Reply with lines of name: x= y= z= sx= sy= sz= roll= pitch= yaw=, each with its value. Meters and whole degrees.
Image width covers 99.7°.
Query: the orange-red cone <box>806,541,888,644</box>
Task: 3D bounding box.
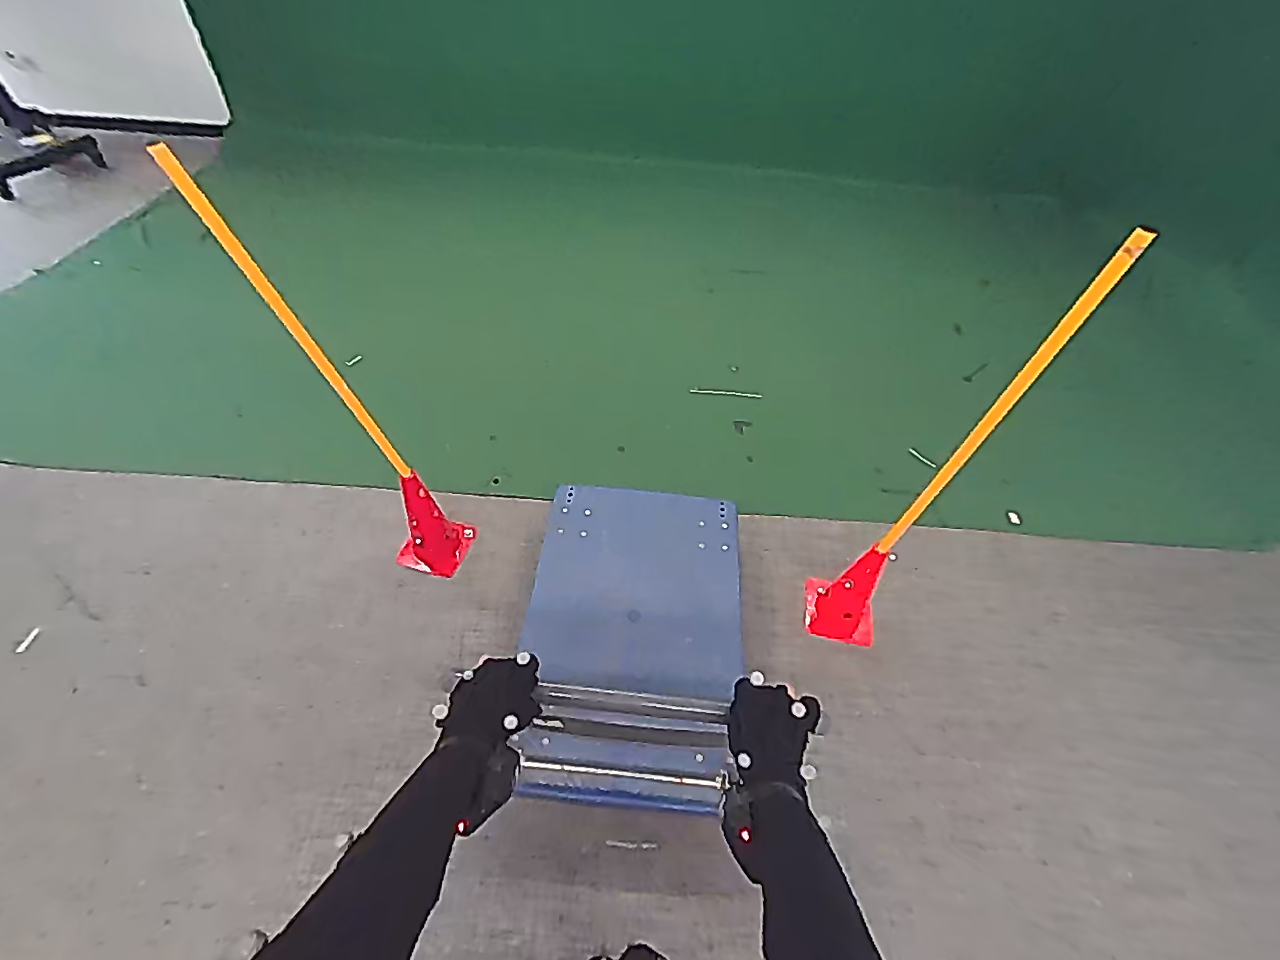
orange-red cone: x=0.624 y=0.291 z=1.545 sx=0.198 sy=0.360 sz=0.199 roll=12 pitch=50 yaw=7
